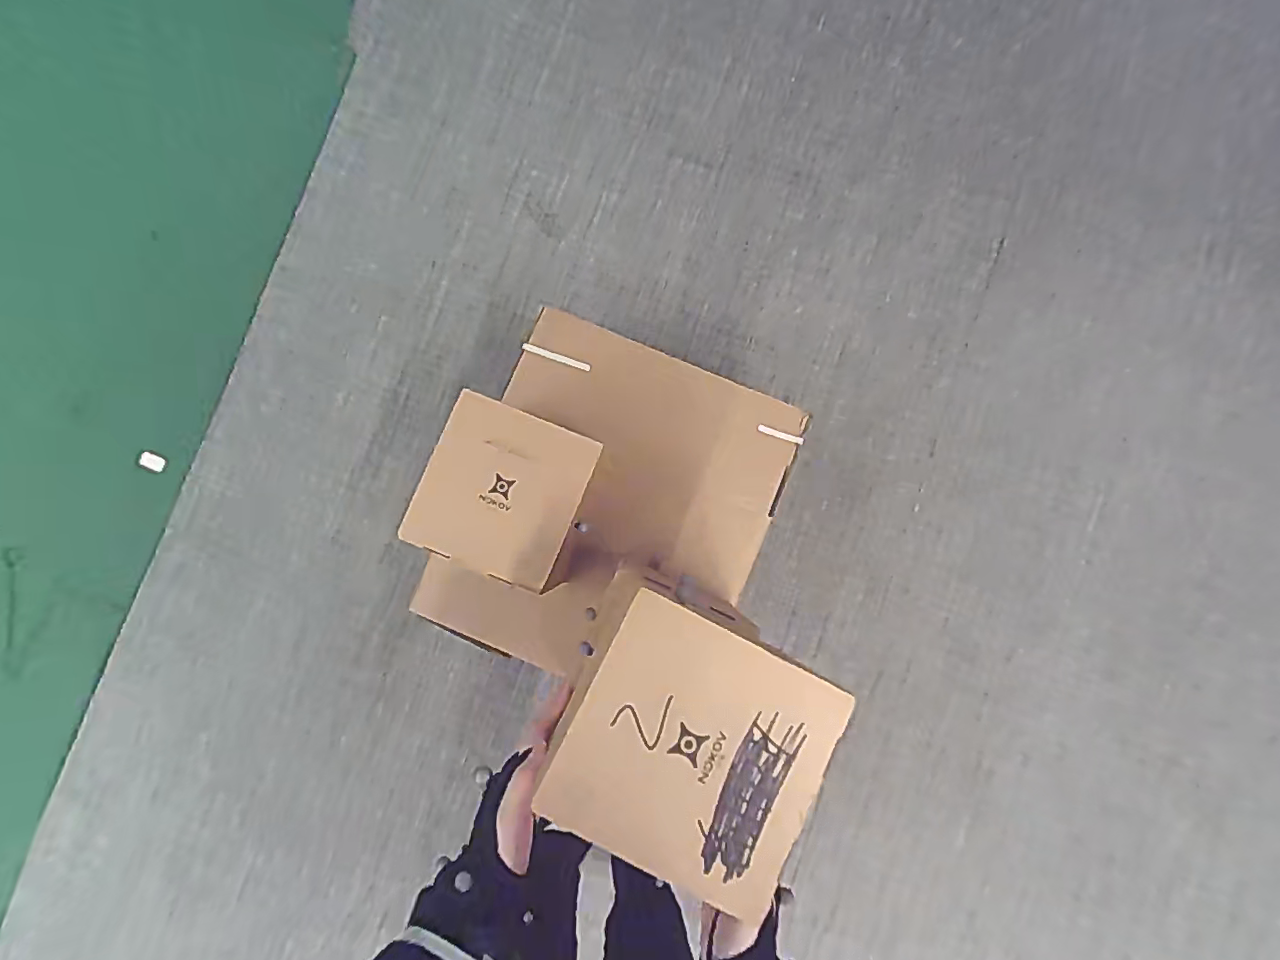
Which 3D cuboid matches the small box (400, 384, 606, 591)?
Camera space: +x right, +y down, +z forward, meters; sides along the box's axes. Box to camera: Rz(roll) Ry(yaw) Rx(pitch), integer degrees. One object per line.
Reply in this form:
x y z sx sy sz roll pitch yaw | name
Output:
-0.146 0.014 0.651 0.168 0.176 0.179 23 84 2 | small box

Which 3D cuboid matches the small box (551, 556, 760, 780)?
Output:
0.014 0.198 0.632 0.168 0.176 0.179 25 85 1 | small box
